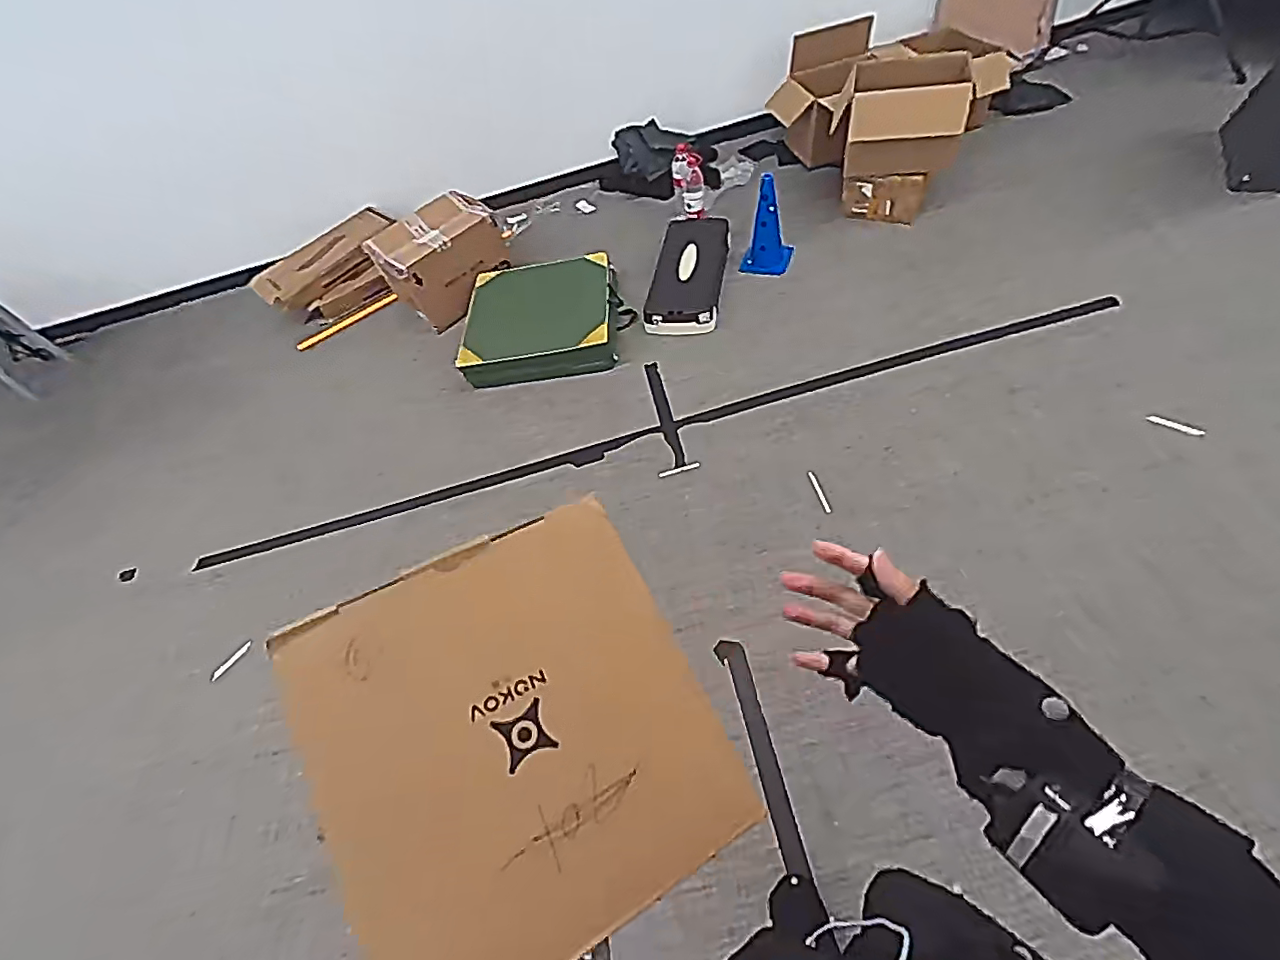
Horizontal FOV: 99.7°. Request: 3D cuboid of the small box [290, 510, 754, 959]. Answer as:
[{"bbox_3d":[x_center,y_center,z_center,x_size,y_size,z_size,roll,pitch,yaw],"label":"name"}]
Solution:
[{"bbox_3d":[-0.070,0.149,0.324,0.168,0.176,0.179,-23,72,-21],"label":"small box"}]
